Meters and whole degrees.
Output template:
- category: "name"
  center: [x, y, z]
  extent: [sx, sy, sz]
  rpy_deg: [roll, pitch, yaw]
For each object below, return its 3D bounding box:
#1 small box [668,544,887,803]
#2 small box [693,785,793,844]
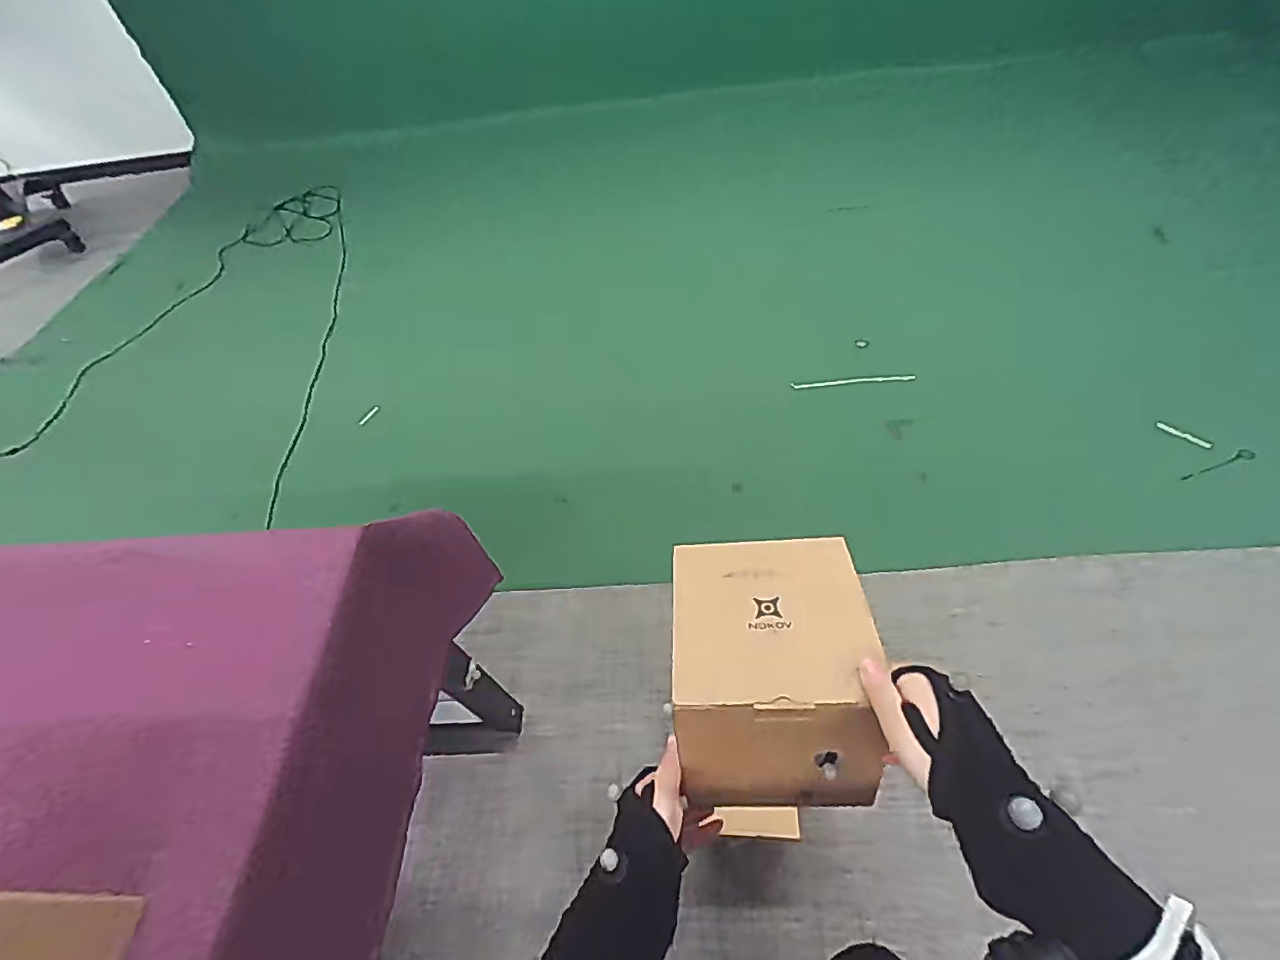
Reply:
- category: "small box"
  center: [0.119, 0.184, 0.518]
  extent: [0.168, 0.176, 0.179]
  rpy_deg: [-4, 36, 7]
- category: "small box"
  center: [0.183, 0.558, 0.996]
  extent: [0.168, 0.176, 0.179]
  rpy_deg: [0, 51, 6]
